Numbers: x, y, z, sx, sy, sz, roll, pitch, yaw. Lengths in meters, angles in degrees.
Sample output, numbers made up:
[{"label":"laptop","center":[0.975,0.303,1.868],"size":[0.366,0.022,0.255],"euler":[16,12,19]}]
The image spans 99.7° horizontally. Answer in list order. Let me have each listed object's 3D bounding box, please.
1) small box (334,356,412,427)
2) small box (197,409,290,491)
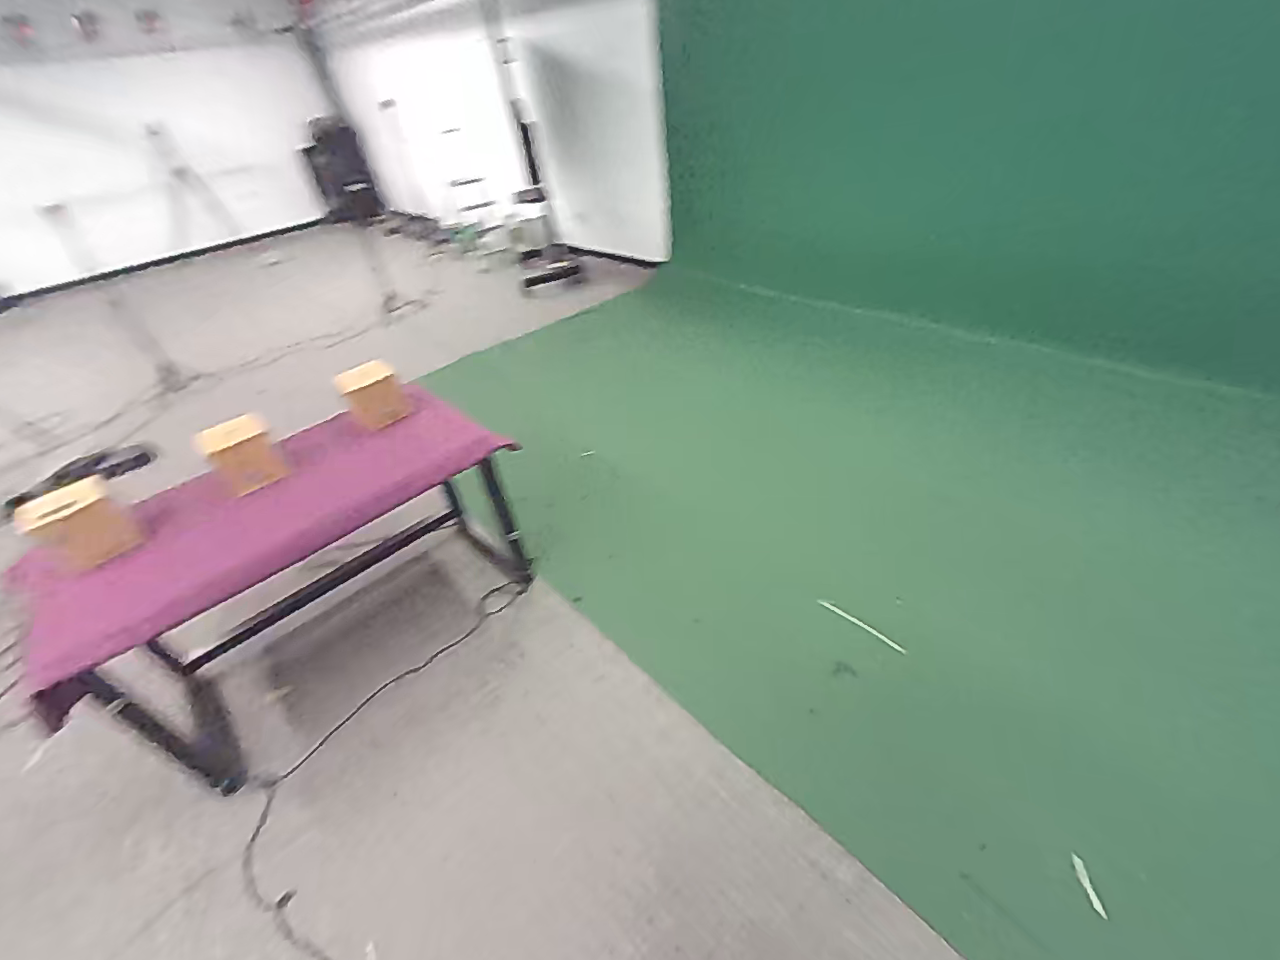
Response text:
[{"label":"small box","center":[-0.942,-0.311,1.914],"size":[0.168,0.176,0.179],"euler":[-34,46,-27]},{"label":"small box","center":[-1.240,-0.092,1.695],"size":[0.168,0.176,0.179],"euler":[-33,46,-29]}]
